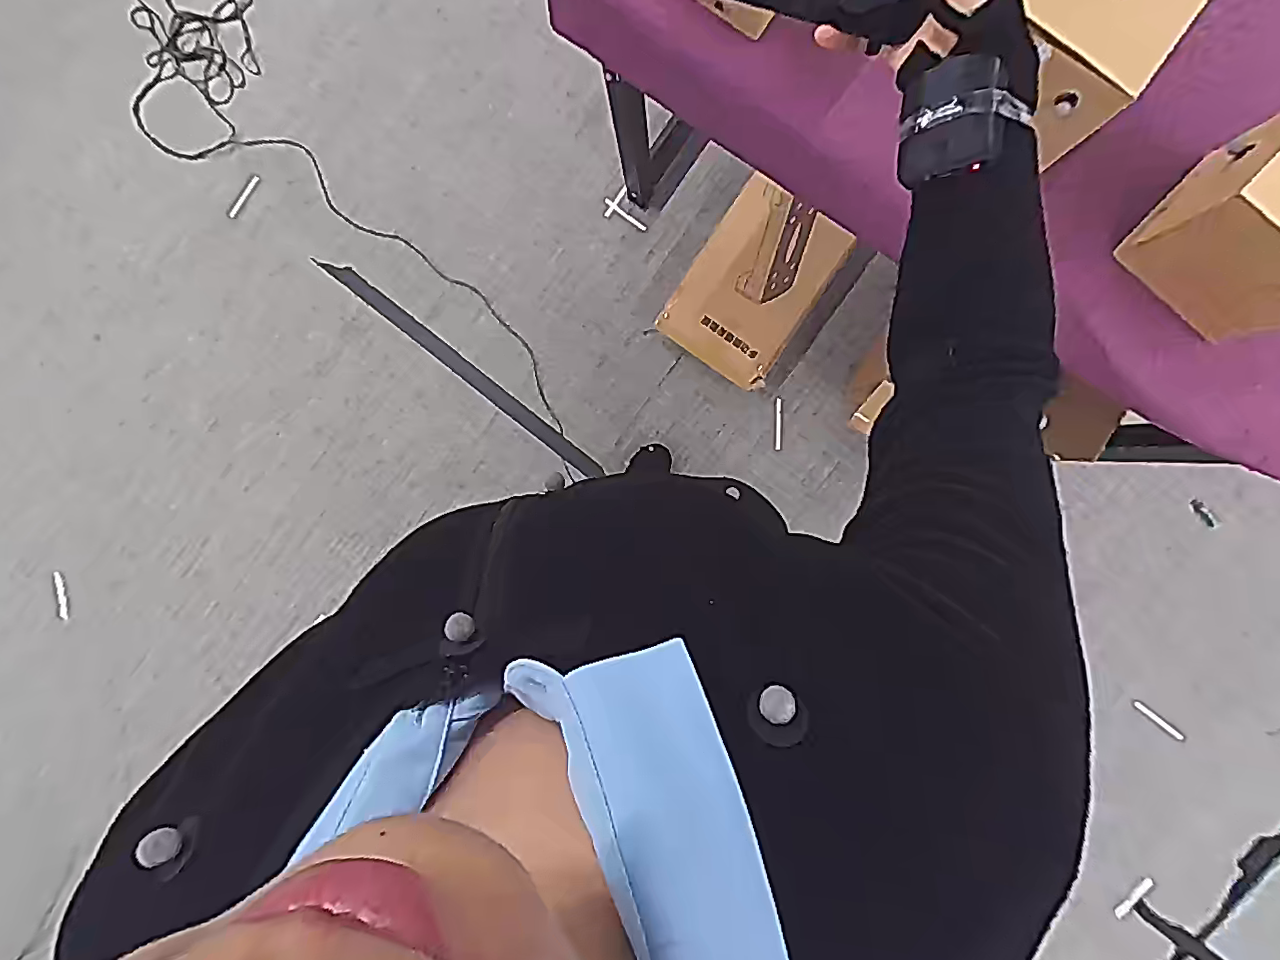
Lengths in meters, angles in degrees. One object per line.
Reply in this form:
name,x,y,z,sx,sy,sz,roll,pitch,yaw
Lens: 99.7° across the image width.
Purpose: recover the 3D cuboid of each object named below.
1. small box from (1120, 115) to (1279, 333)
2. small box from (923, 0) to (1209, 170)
small box,0.718,-0.292,0.609,0.179,0.176,0.168,42,95,1
small box,0.472,-0.495,0.615,0.179,0.176,0.168,35,92,2
